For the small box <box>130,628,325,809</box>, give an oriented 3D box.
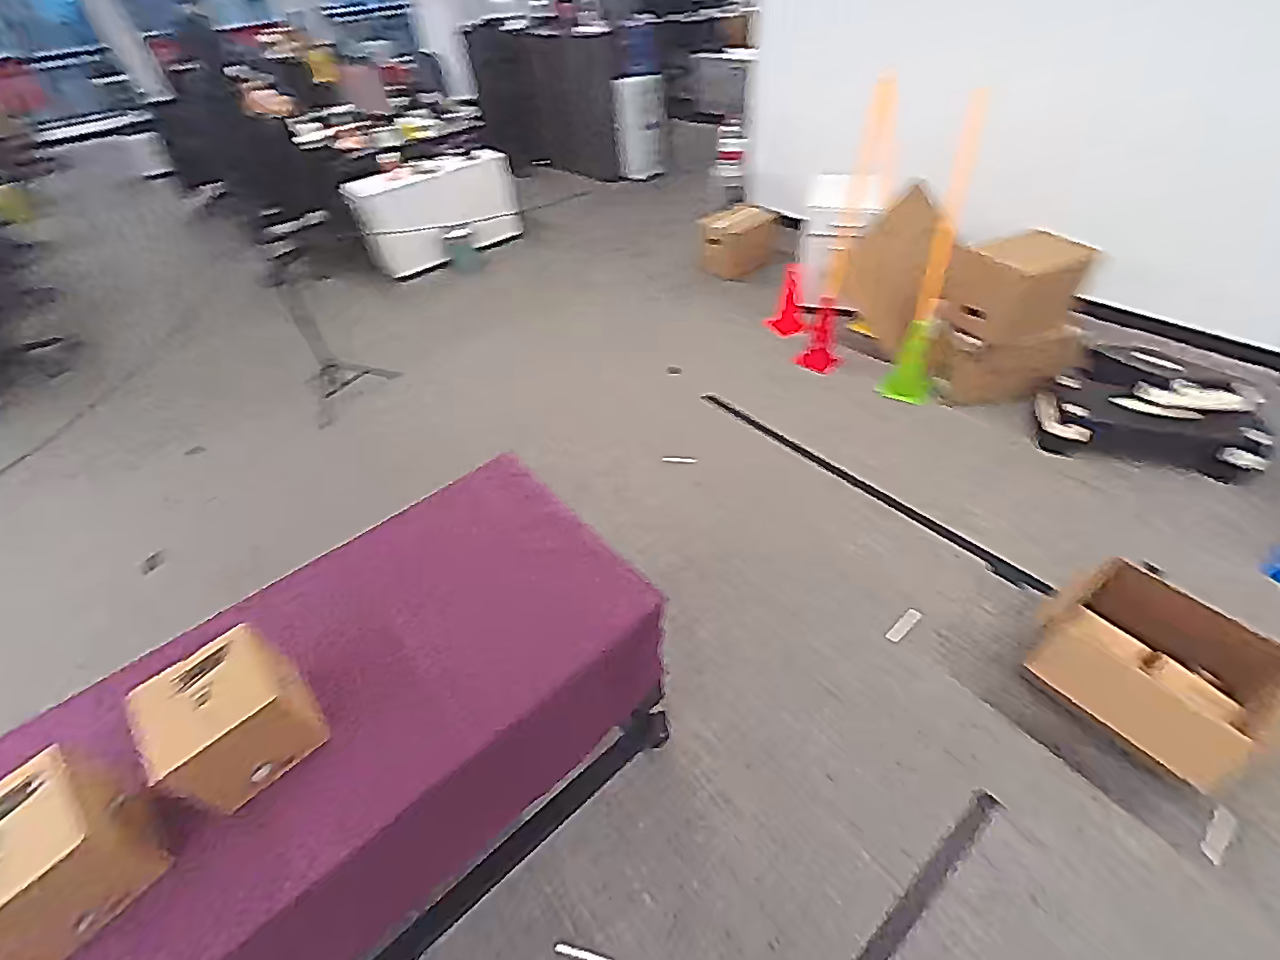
[{"bbox_3d":[-0.645,0.379,0.859,0.168,0.176,0.179,-37,53,-27],"label":"small box"}]
